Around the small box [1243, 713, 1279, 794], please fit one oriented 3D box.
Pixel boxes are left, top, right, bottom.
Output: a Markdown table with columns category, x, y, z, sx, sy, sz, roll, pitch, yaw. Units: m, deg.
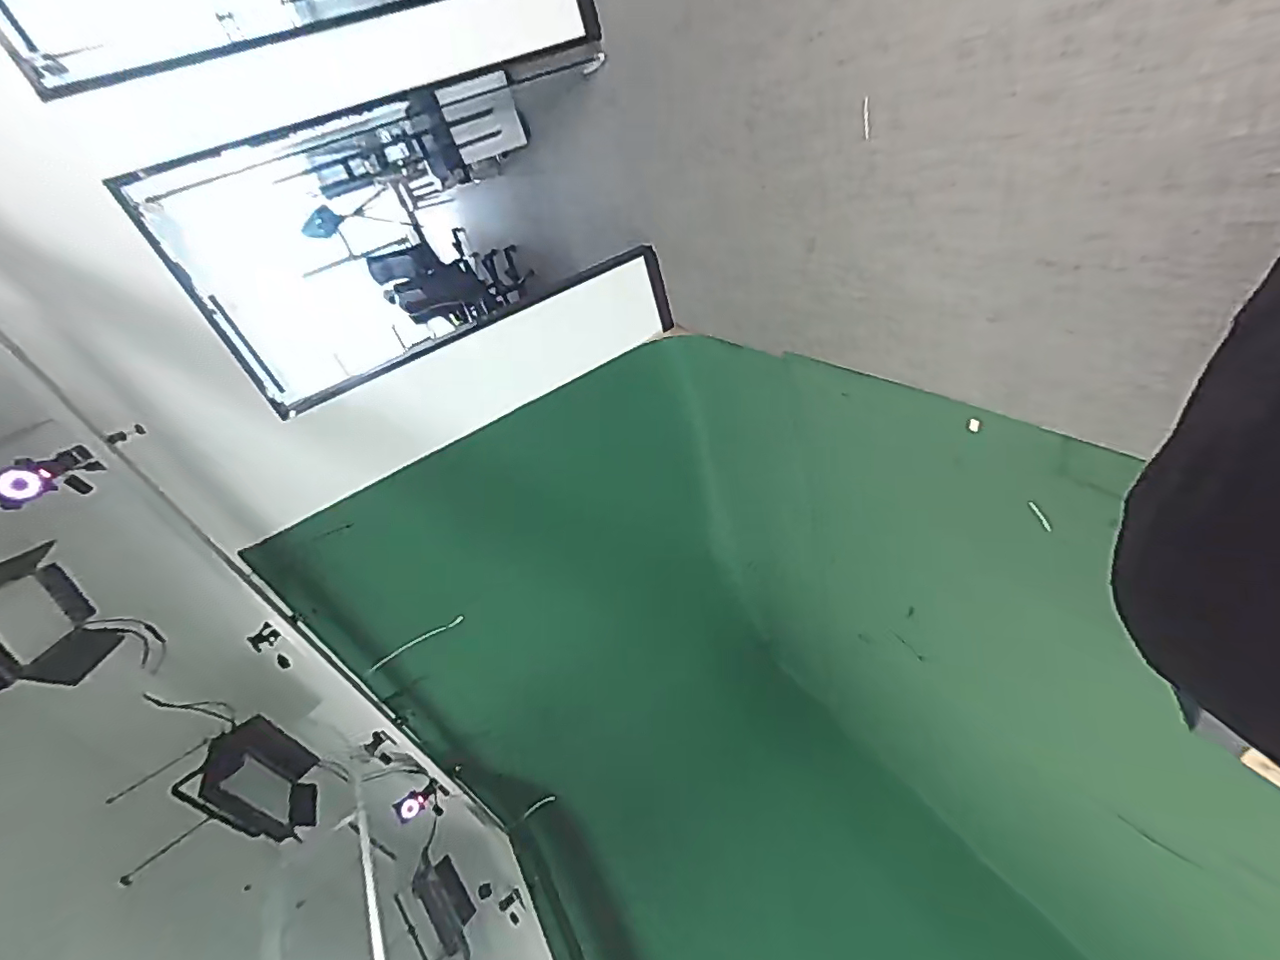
| category | x | y | z | sx | sy | sz | roll | pitch | yaw |
| --- | --- | --- | --- | --- | --- | --- | --- | --- | --- |
| small box | 0.892 | 0.320 | 0.628 | 0.179 | 0.176 | 0.168 | 40 | 154 | 46 |
